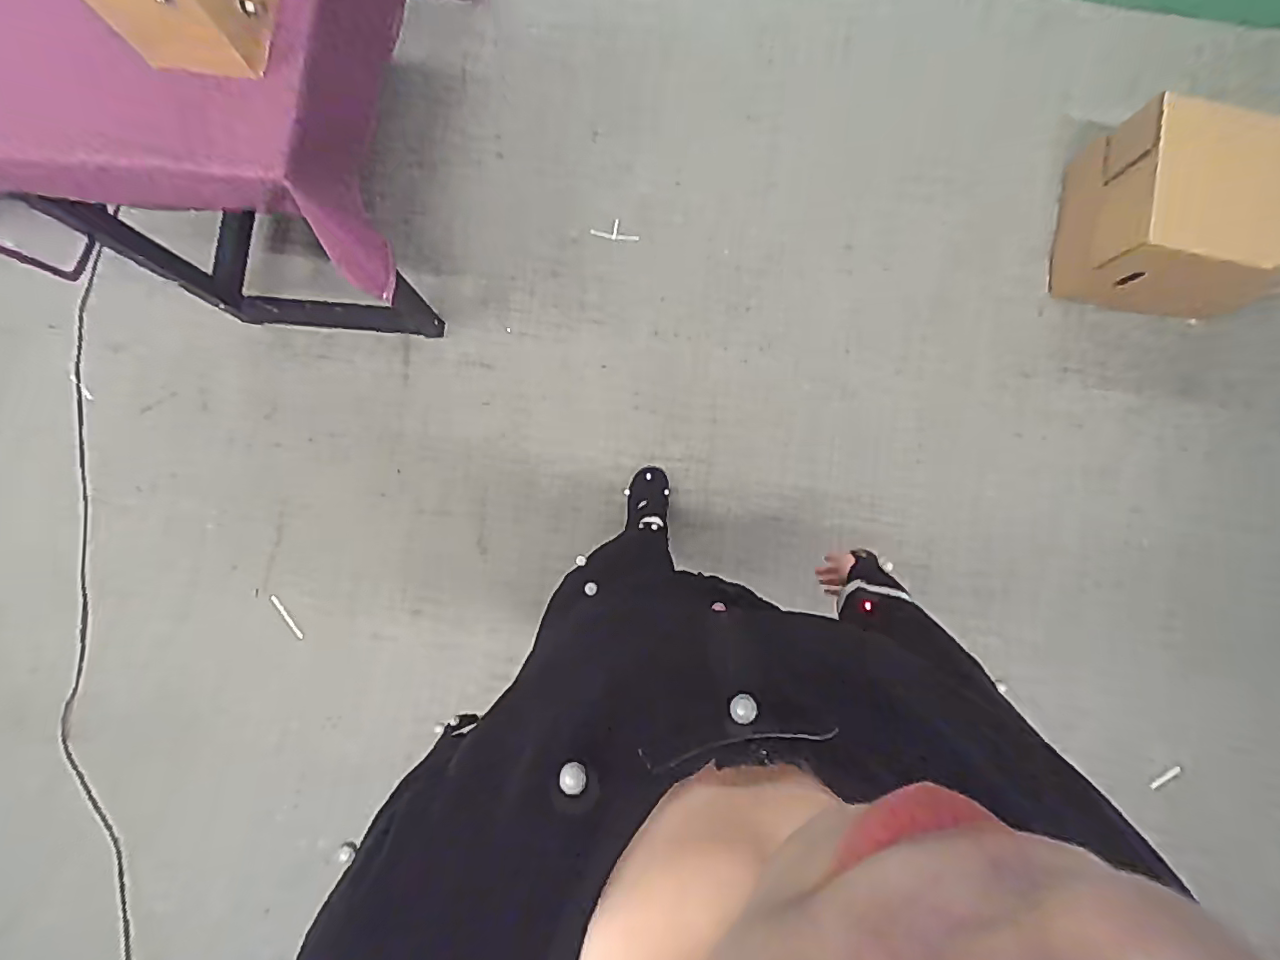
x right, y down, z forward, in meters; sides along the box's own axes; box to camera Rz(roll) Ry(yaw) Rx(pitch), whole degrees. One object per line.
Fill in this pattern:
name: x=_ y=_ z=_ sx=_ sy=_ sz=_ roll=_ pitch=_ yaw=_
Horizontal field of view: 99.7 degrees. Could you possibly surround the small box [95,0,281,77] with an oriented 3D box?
small box: x=-0.662 y=-0.720 z=0.770 sx=0.179 sy=0.176 sz=0.168 roll=7 pitch=83 yaw=0
